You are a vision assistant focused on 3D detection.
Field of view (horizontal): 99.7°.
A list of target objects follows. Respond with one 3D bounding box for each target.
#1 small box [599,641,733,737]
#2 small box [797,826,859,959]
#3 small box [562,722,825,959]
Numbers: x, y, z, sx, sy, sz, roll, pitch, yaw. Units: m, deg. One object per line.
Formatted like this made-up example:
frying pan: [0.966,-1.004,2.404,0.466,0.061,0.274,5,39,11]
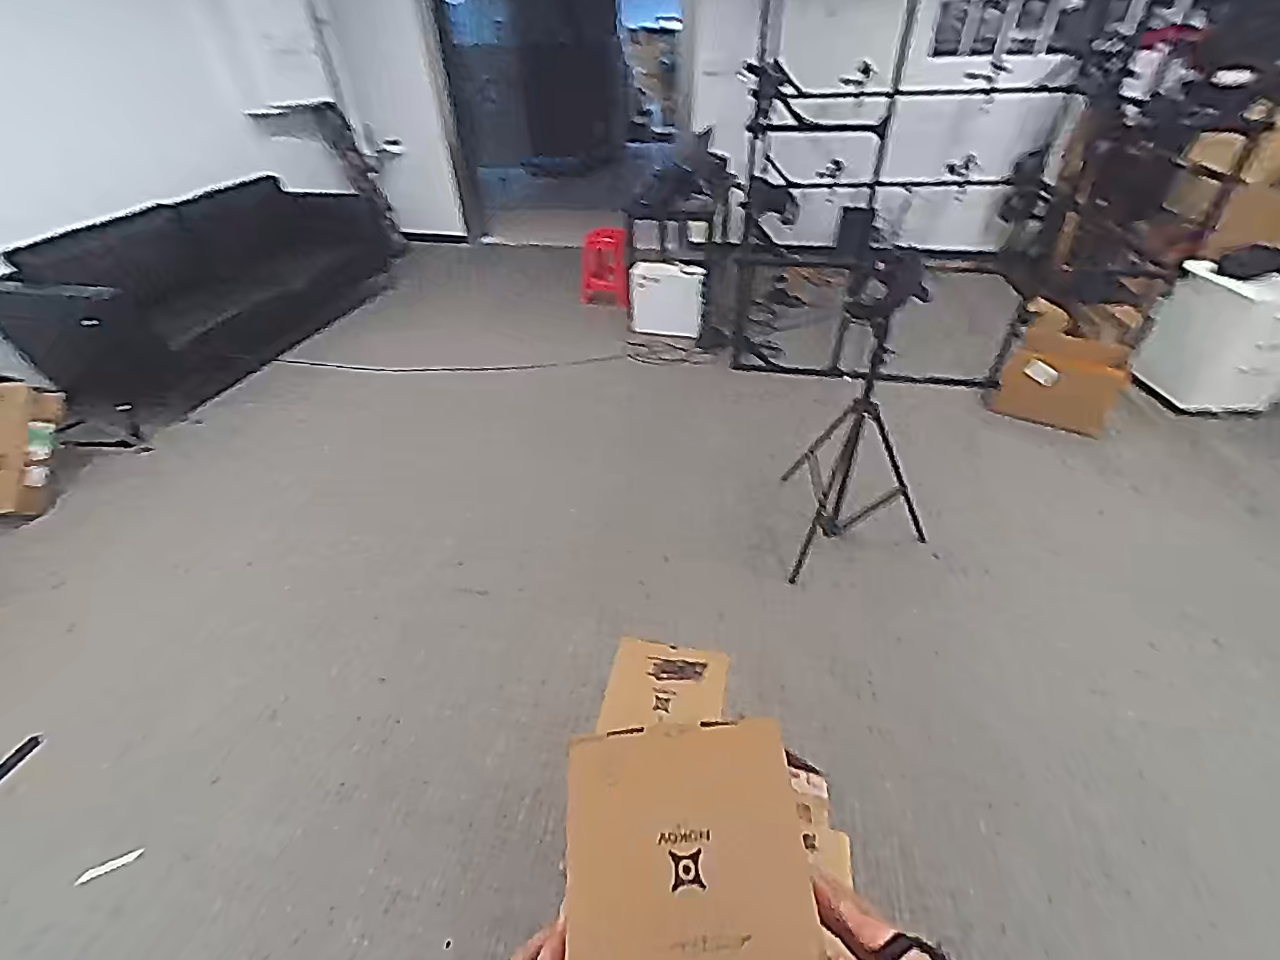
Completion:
small box: [0.043,0.370,0.799,0.168,0.176,0.179,5,41,12]
small box: [0.202,0.608,0.759,0.168,0.176,0.179,7,42,11]
small box: [0.034,0.310,0.428,0.168,0.176,0.179,-6,54,0]
